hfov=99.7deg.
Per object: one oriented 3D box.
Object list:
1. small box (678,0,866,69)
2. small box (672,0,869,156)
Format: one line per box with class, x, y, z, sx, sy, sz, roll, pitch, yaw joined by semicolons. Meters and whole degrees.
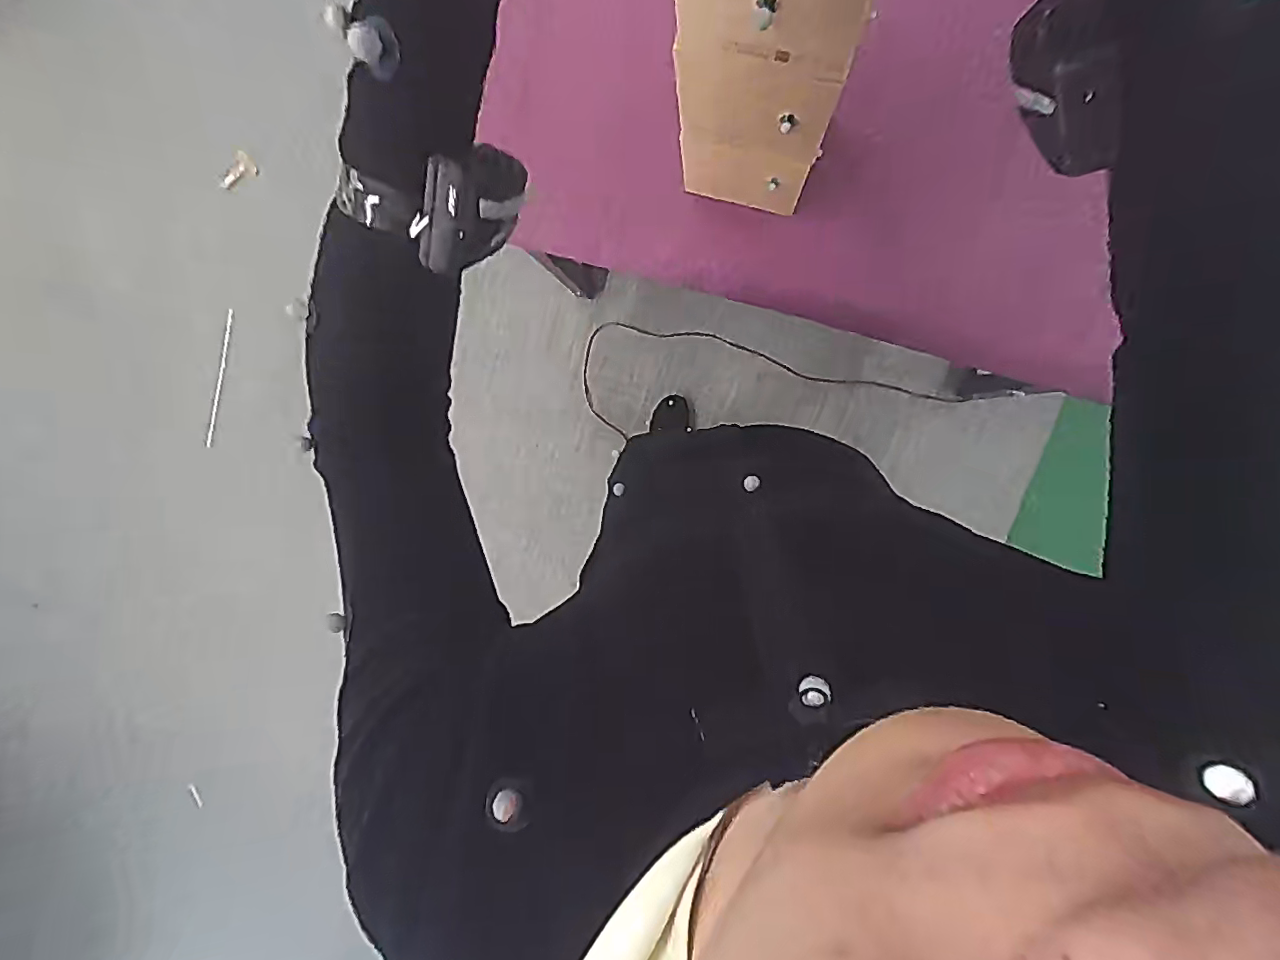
small box;0.126;-0.483;0.438;0.168;0.176;0.179;16;98;5
small box;0.146;-0.493;0.599;0.179;0.176;0.168;17;97;6
